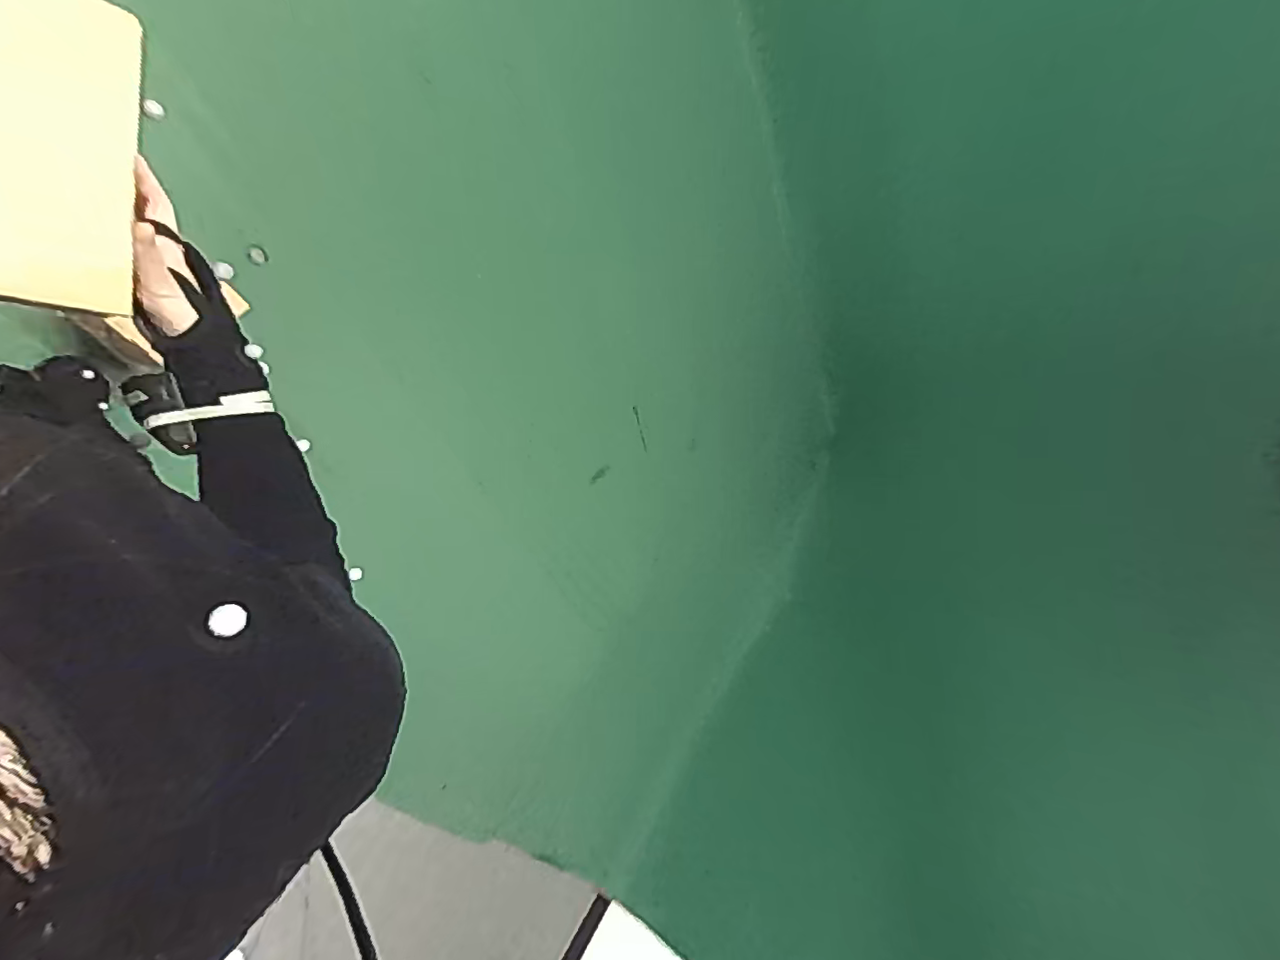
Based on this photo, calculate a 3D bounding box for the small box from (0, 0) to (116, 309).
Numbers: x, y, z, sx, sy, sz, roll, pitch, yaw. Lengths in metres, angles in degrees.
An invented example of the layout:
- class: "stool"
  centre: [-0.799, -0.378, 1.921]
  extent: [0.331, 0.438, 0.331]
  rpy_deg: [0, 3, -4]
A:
- class: "small box"
  centre: [-0.429, -0.205, 0.314]
  extent: [0.168, 0.176, 0.179]
  rpy_deg: [1, 99, -49]

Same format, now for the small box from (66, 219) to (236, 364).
- class: "small box"
  centre: [-0.863, -0.321, 0.936]
  extent: [0.179, 0.176, 0.168]
  rpy_deg: [-55, 134, -26]
